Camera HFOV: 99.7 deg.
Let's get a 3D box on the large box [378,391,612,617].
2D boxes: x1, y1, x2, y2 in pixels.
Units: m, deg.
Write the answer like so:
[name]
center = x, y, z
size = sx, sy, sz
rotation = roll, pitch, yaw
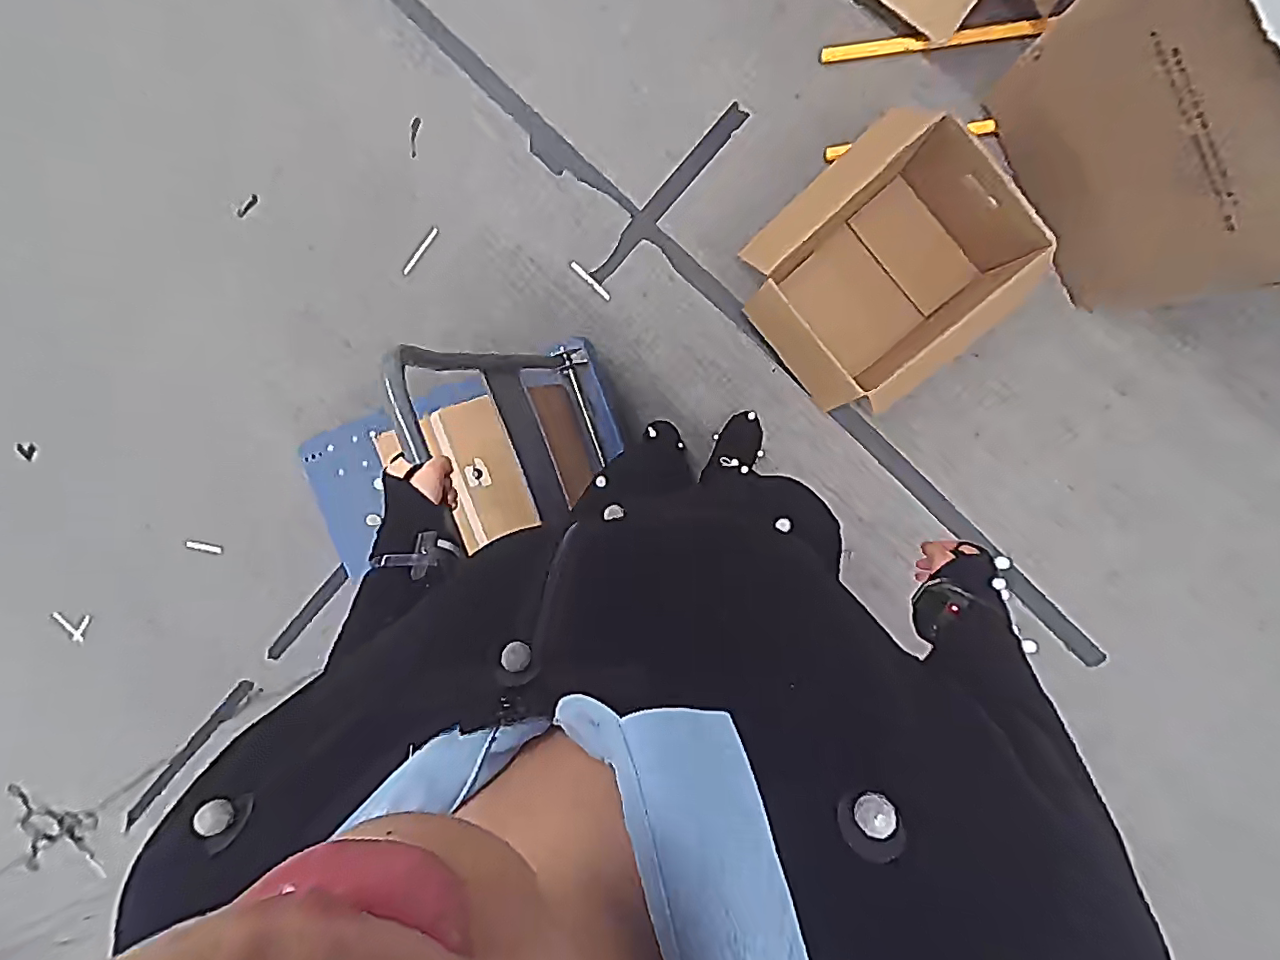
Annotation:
[large box]
center = -0.299, 0.038, 1.222
size = 0.320, 0.320, 0.408
rotation = -16, 96, 14
